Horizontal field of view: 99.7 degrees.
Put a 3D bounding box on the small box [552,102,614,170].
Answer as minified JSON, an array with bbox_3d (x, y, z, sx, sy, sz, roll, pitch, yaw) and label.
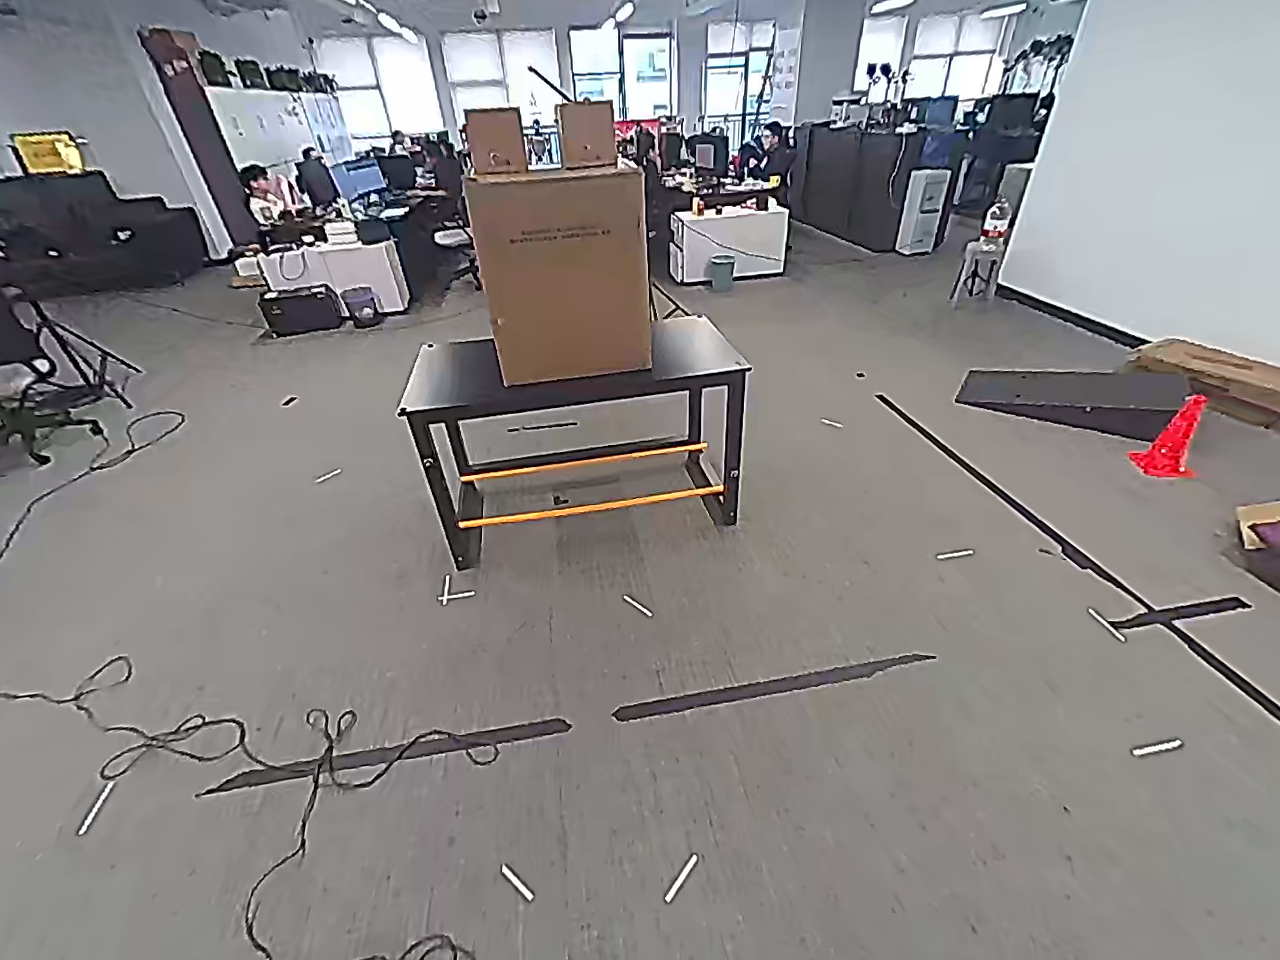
[{"bbox_3d":[-0.181,-1.082,1.703,0.168,0.176,0.179,-11,35,-8],"label":"small box"}]

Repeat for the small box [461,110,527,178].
[{"bbox_3d":[-0.449,-1.043,1.679,0.168,0.176,0.179,-10,36,-9],"label":"small box"}]
